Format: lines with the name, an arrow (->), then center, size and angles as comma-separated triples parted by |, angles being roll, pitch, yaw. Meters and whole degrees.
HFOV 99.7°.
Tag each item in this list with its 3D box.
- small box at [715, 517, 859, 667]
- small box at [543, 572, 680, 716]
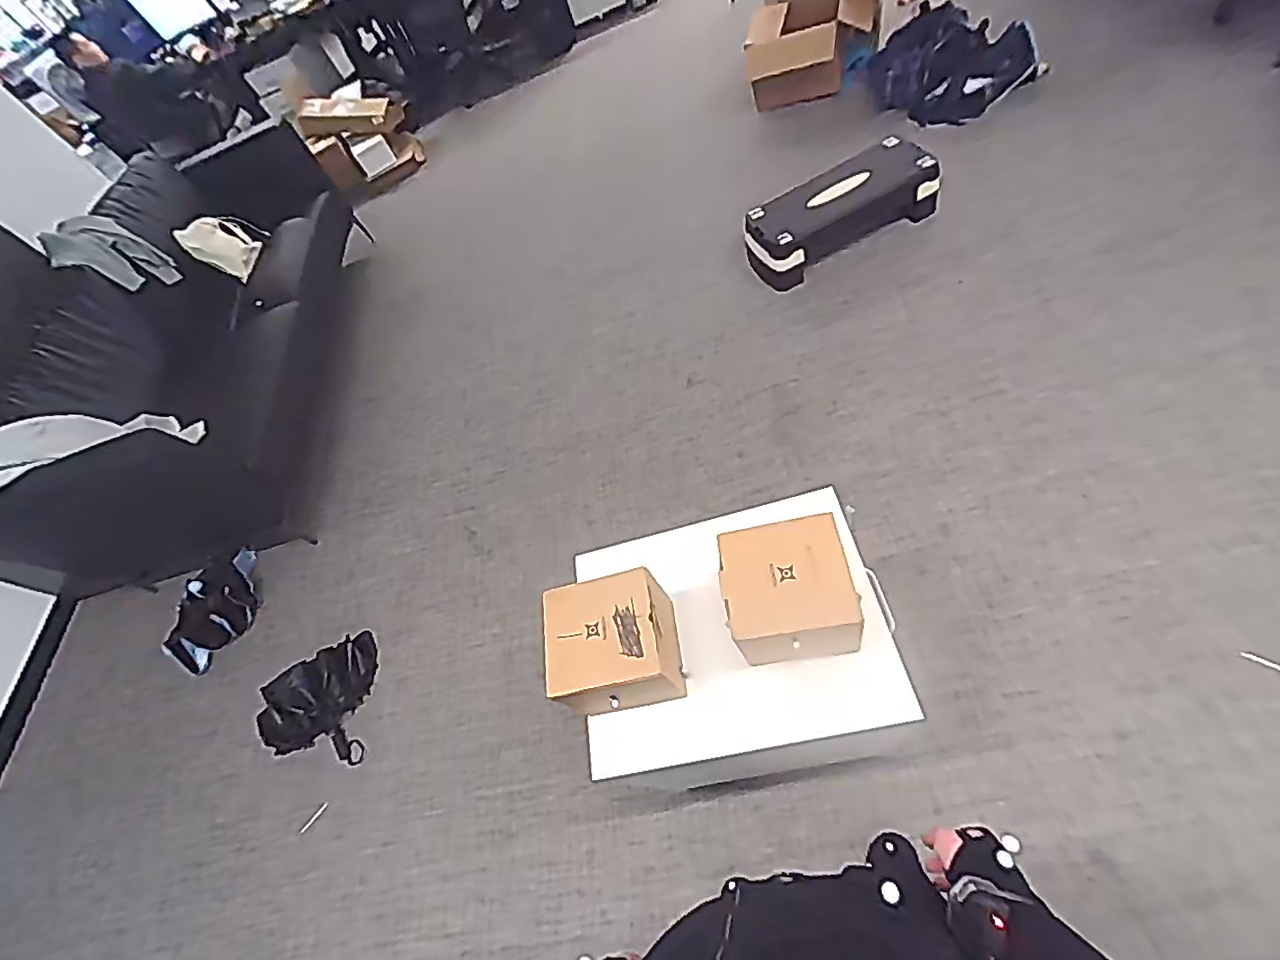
small box -> 0.224, 0.179, 0.828 | 0.179, 0.176, 0.168 | -13, 58, 12
small box -> -0.040, 0.269, 0.867 | 0.179, 0.176, 0.168 | -16, 55, 11
